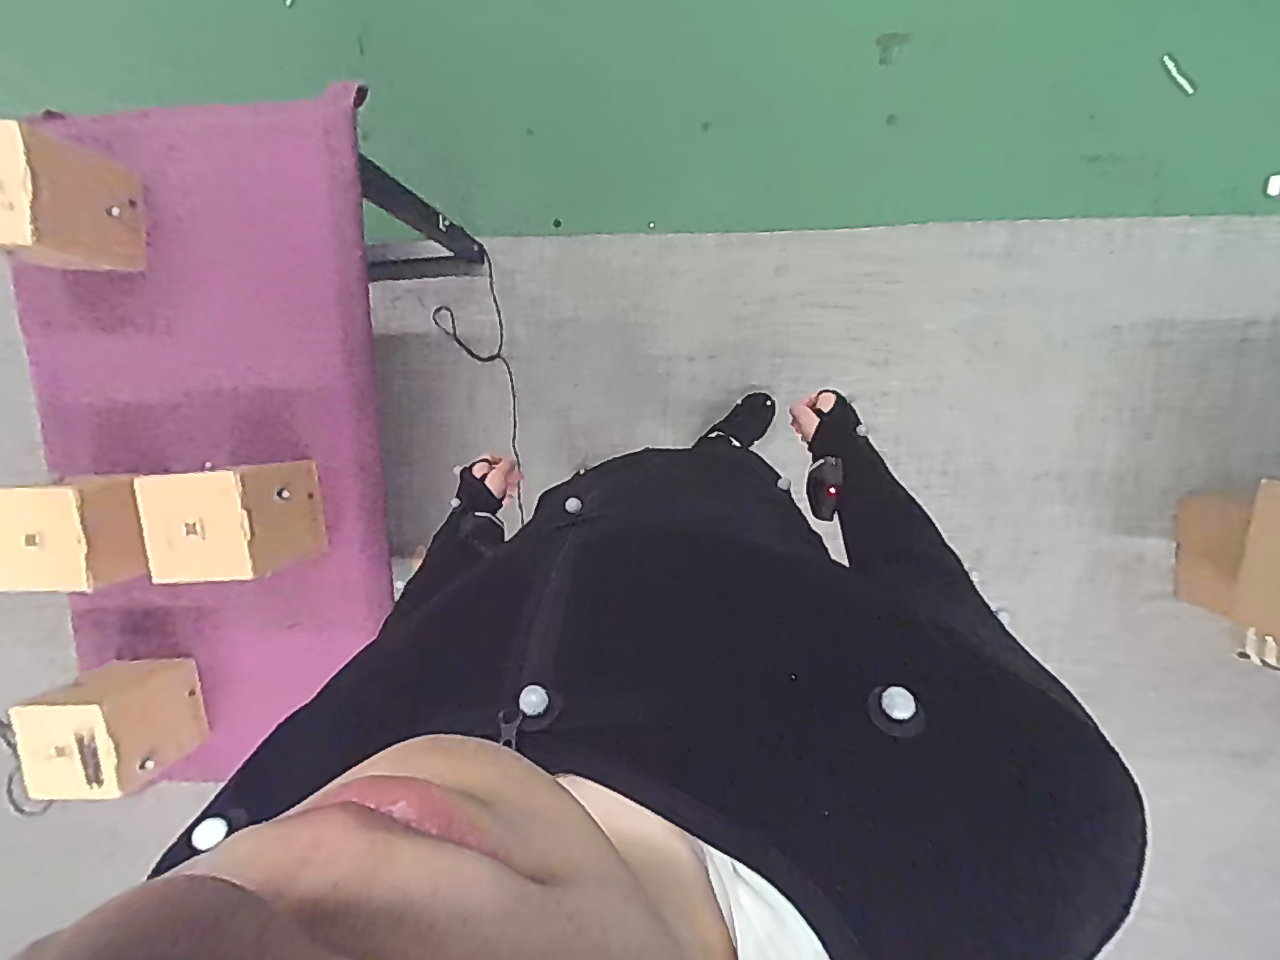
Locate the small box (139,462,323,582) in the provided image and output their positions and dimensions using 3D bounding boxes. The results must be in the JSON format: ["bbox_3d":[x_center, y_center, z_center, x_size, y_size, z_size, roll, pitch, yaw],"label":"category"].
[{"bbox_3d":[-0.655,0.063,0.893,0.179,0.176,0.168,-3,97,8],"label":"small box"}]

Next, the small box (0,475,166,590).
[{"bbox_3d":[-0.932,0.083,0.927,0.179,0.176,0.168,-1,97,5],"label":"small box"}]

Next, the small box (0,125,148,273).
[{"bbox_3d":[-0.938,-0.432,0.852,0.179,0.176,0.168,4,99,5],"label":"small box"}]
